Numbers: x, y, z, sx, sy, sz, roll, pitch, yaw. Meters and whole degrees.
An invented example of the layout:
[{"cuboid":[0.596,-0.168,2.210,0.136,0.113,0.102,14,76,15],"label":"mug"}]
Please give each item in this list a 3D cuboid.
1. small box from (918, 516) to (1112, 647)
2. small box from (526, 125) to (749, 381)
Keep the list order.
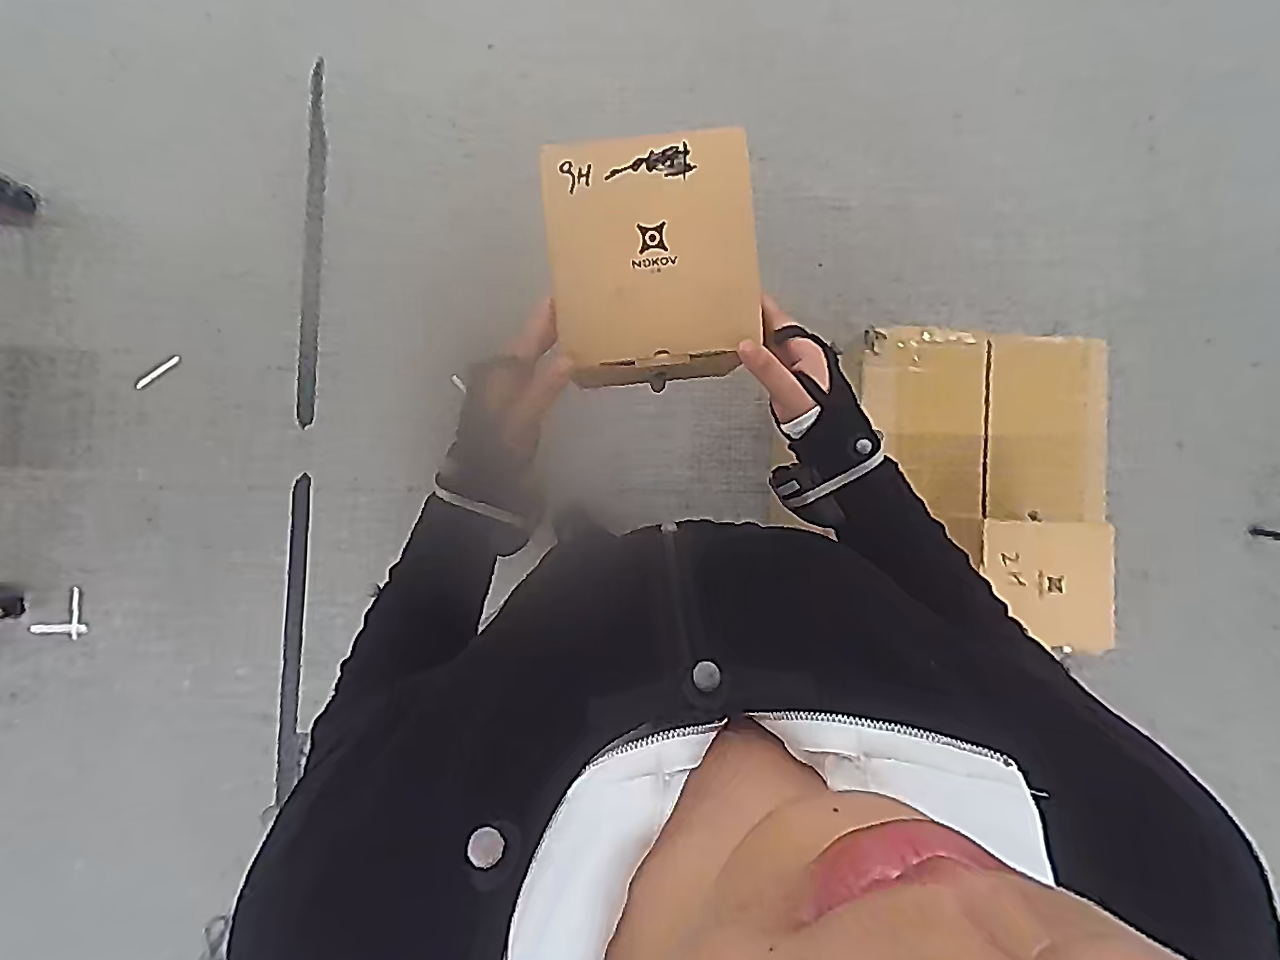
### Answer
[{"cuboid":[0.541,0.140,0.798,0.179,0.176,0.168,2,87,1],"label":"small box"},{"cuboid":[0.000,-0.190,0.509,0.168,0.176,0.179,-7,95,0],"label":"small box"}]
